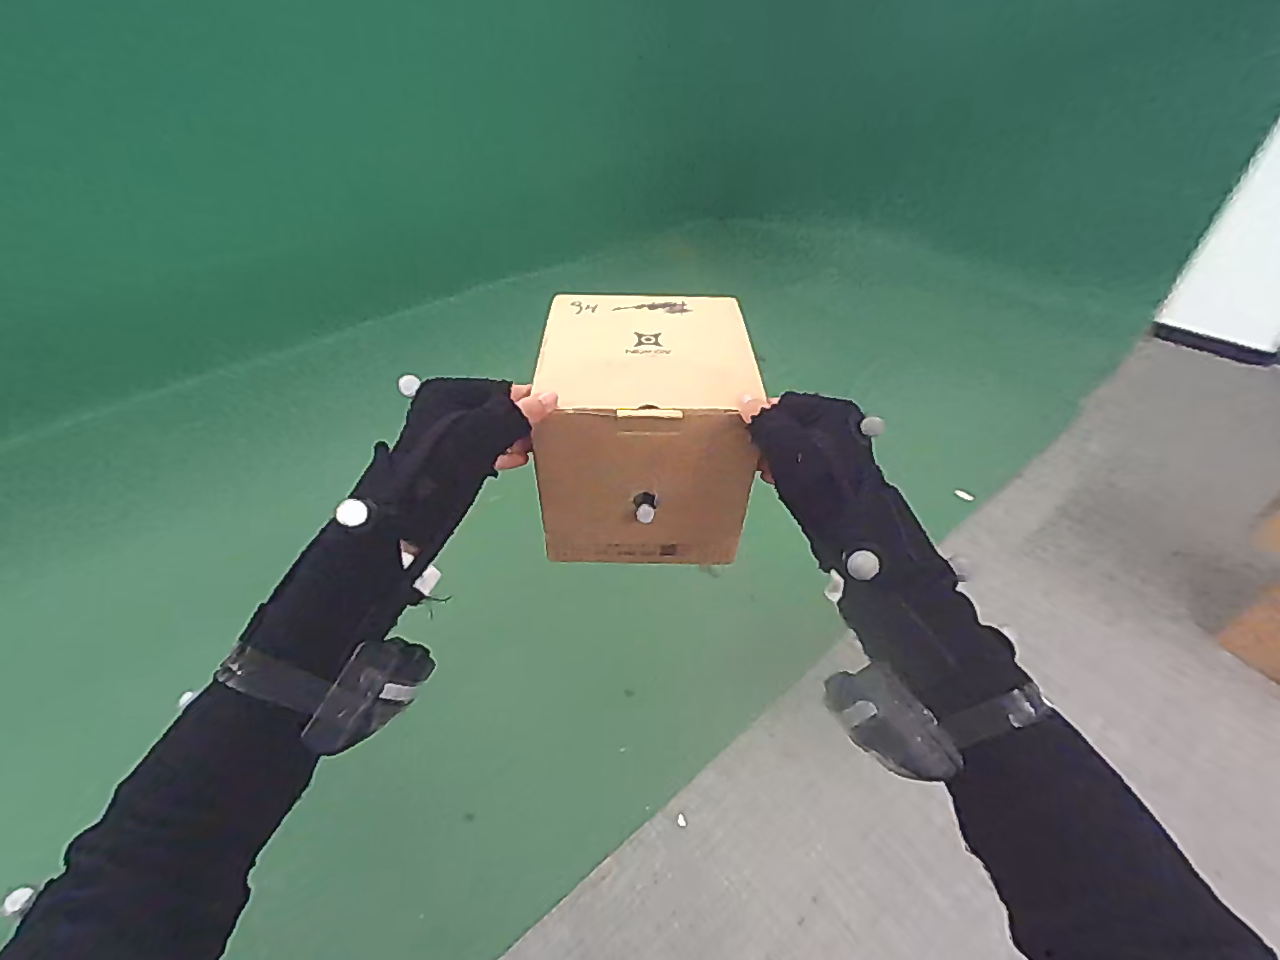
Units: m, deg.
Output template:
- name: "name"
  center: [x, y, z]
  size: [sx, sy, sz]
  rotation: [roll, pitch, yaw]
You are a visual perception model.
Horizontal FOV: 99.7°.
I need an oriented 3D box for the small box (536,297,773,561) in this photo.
- name: "small box"
  center: [0.011, -0.044, 0.480]
  size: [0.168, 0.176, 0.179]
  rotation: [2, 45, -1]
